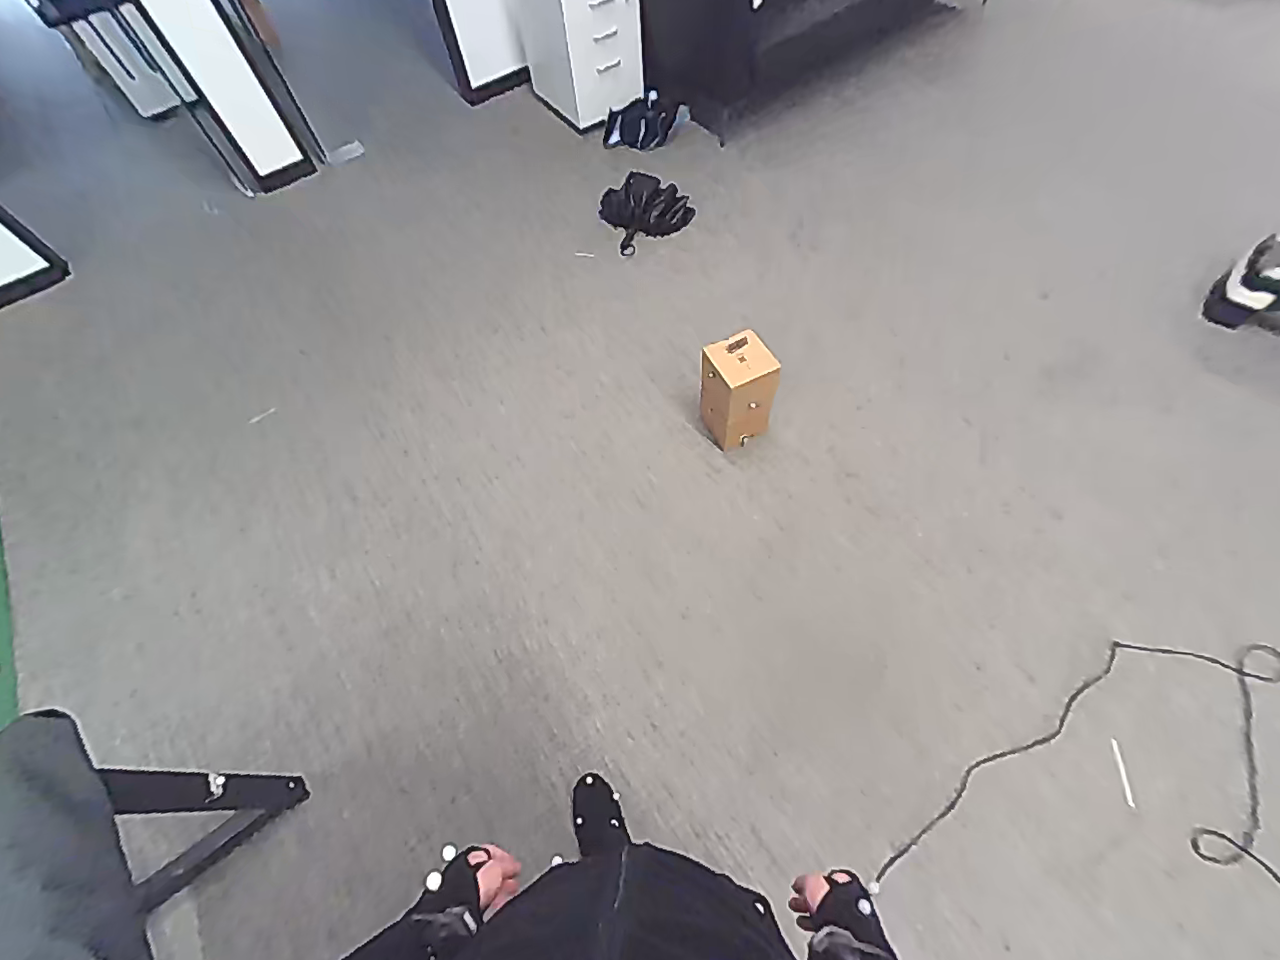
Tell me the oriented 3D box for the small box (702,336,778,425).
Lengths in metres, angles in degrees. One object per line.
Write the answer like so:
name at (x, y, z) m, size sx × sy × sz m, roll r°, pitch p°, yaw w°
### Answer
small box at (0.296, -0.299, 1.650) m, size 0.168 × 0.176 × 0.179 m, roll -24°, pitch 62°, yaw -8°

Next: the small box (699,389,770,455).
small box at (0.305, -0.217, 1.793) m, size 0.168 × 0.176 × 0.179 m, roll -25°, pitch 62°, yaw -9°
